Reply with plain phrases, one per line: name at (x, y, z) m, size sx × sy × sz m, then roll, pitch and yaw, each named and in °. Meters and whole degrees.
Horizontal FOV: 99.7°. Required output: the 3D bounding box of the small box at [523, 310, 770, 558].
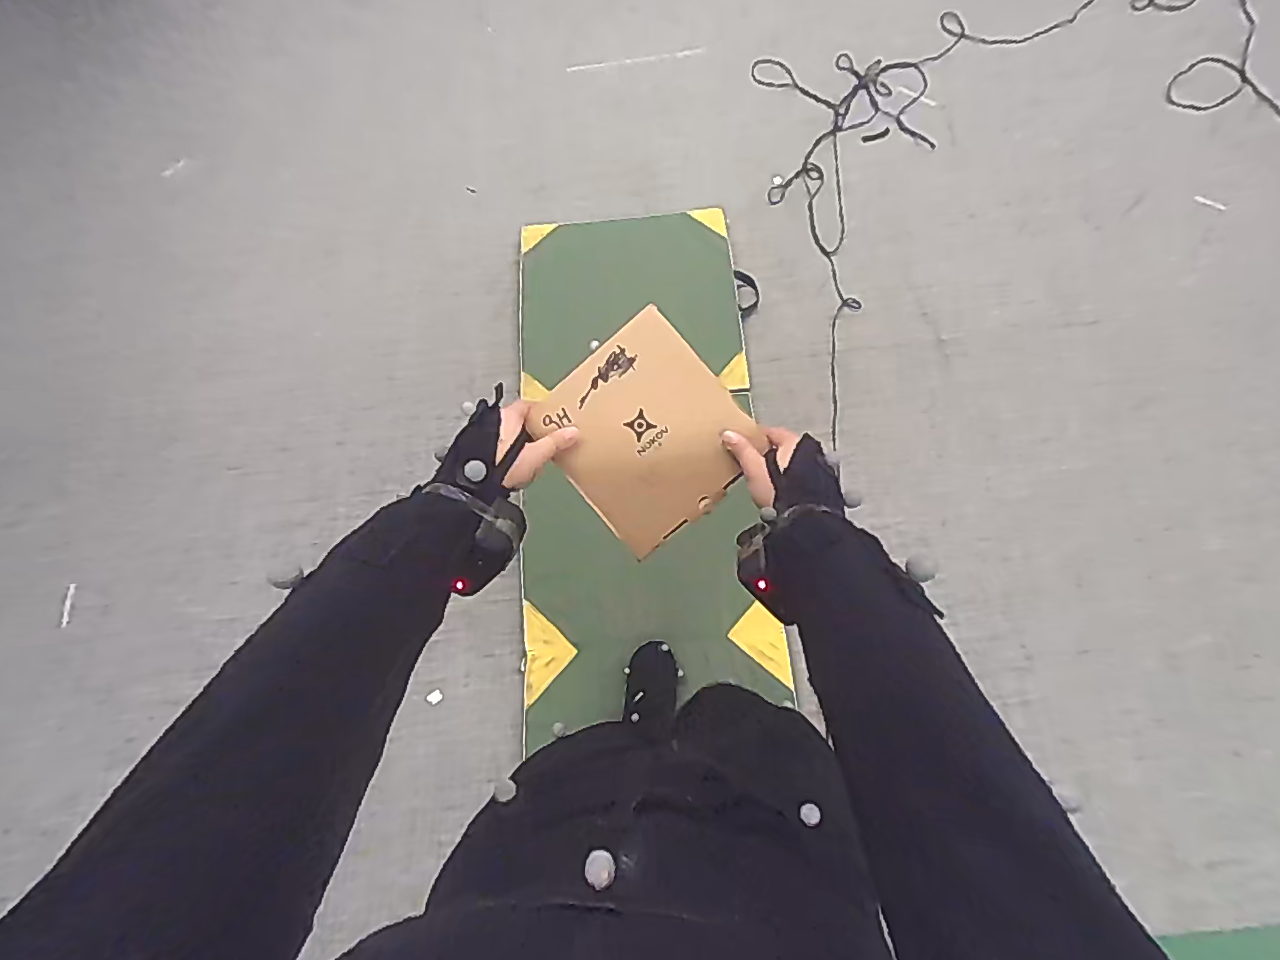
small box at (0.008, -0.045, 0.580) m, size 0.168 × 0.176 × 0.179 m, roll -40°, pitch 89°, yaw 2°
